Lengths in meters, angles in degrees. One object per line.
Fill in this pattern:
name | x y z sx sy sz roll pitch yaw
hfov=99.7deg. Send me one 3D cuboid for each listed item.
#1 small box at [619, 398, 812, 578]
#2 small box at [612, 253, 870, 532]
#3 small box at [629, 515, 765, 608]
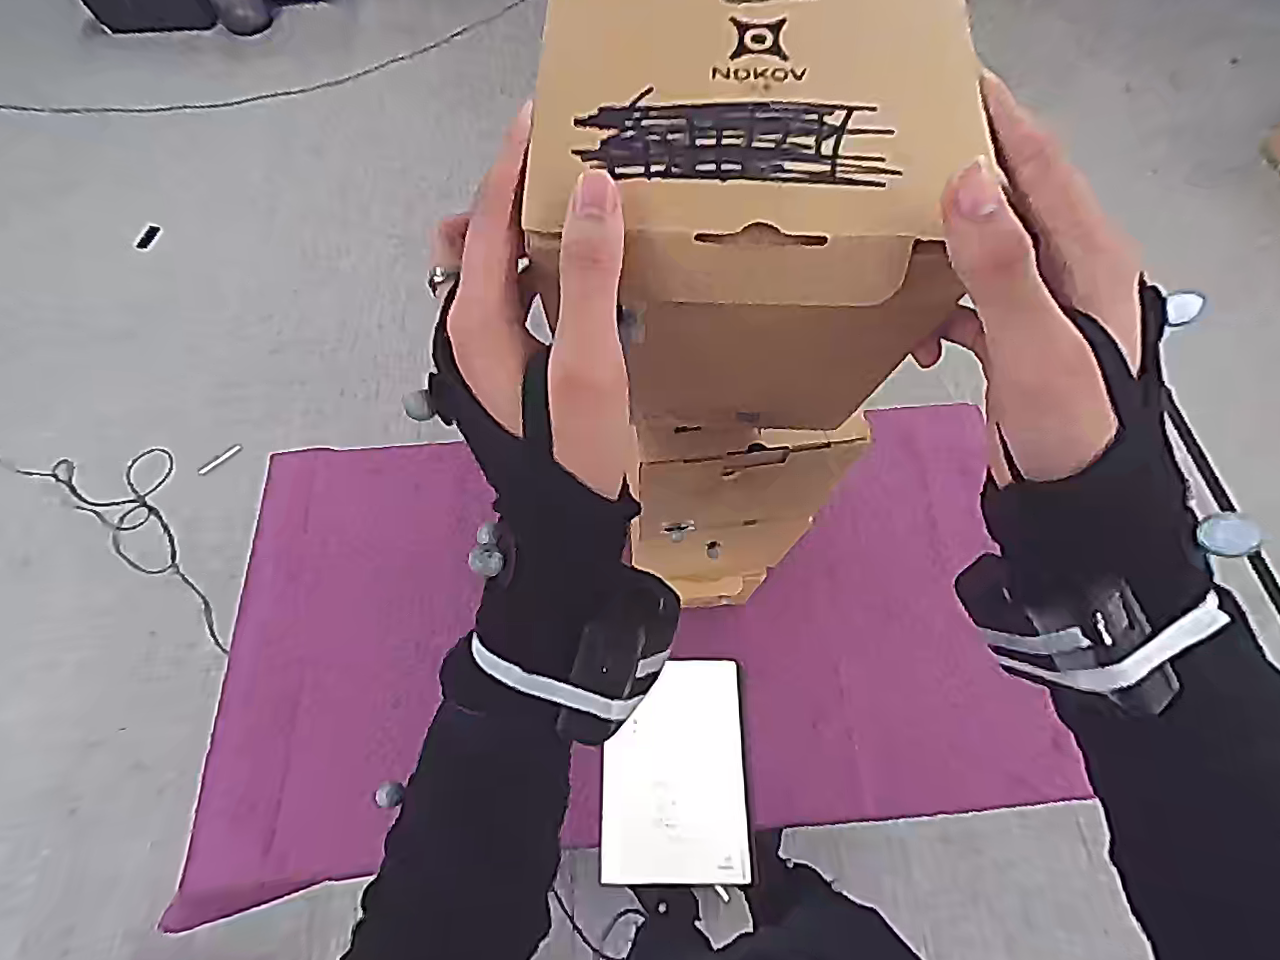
small box | 0.073 0.009 0.619 0.179 0.176 0.168 -5 66 -3
small box | 0.069 -0.062 0.470 0.168 0.176 0.179 -7 65 -3
small box | 0.070 0.081 0.767 0.168 0.176 0.179 -4 66 -2
